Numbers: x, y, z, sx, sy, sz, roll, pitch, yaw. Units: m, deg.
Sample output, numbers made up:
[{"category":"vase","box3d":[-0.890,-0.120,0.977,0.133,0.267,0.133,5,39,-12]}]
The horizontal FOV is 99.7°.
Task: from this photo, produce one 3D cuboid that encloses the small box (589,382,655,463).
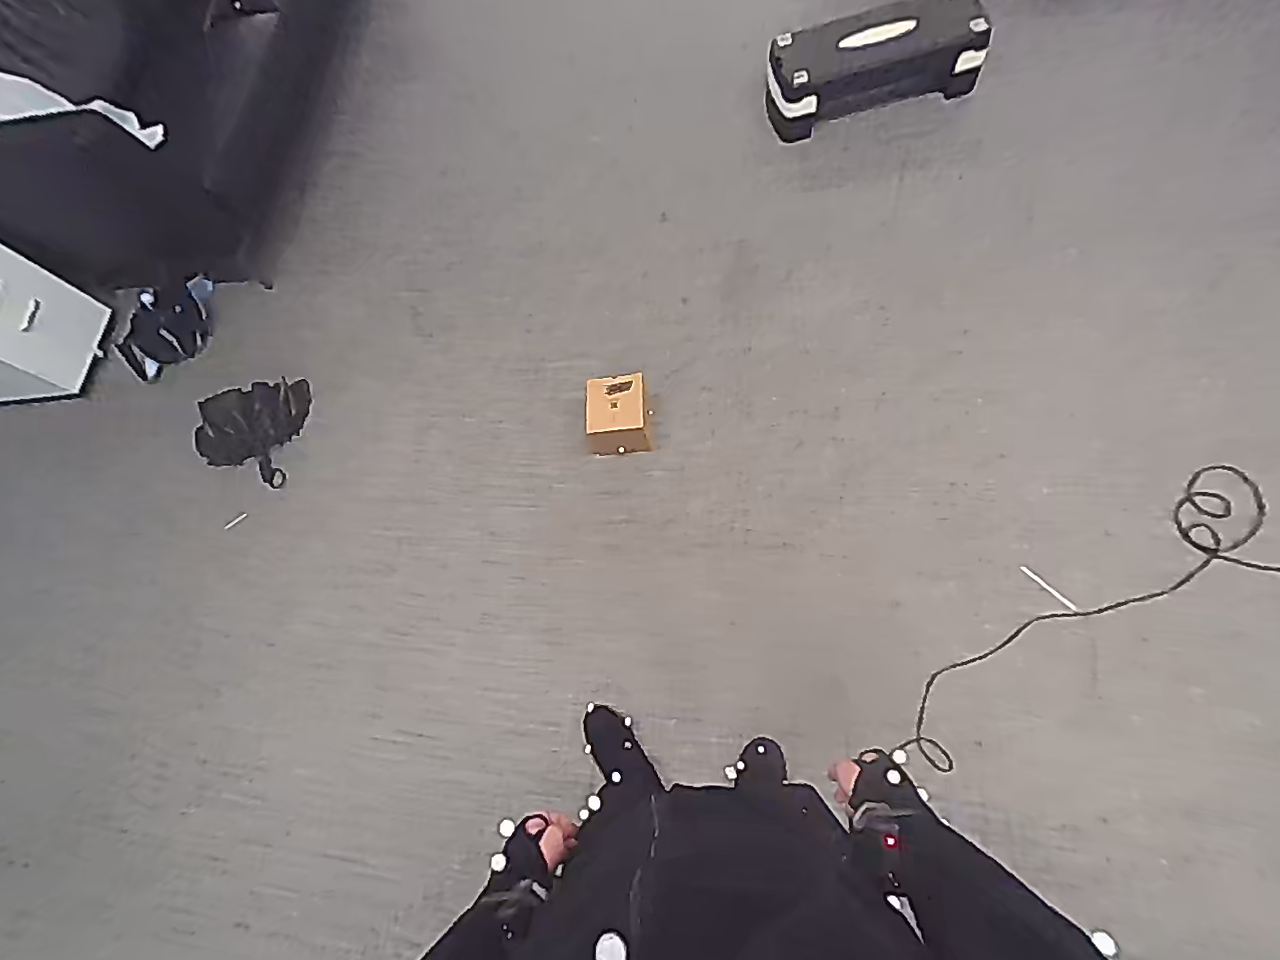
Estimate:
[{"category":"small box","box3d":[-0.049,-0.167,1.603,0.168,0.176,0.179,-5,69,10]}]
